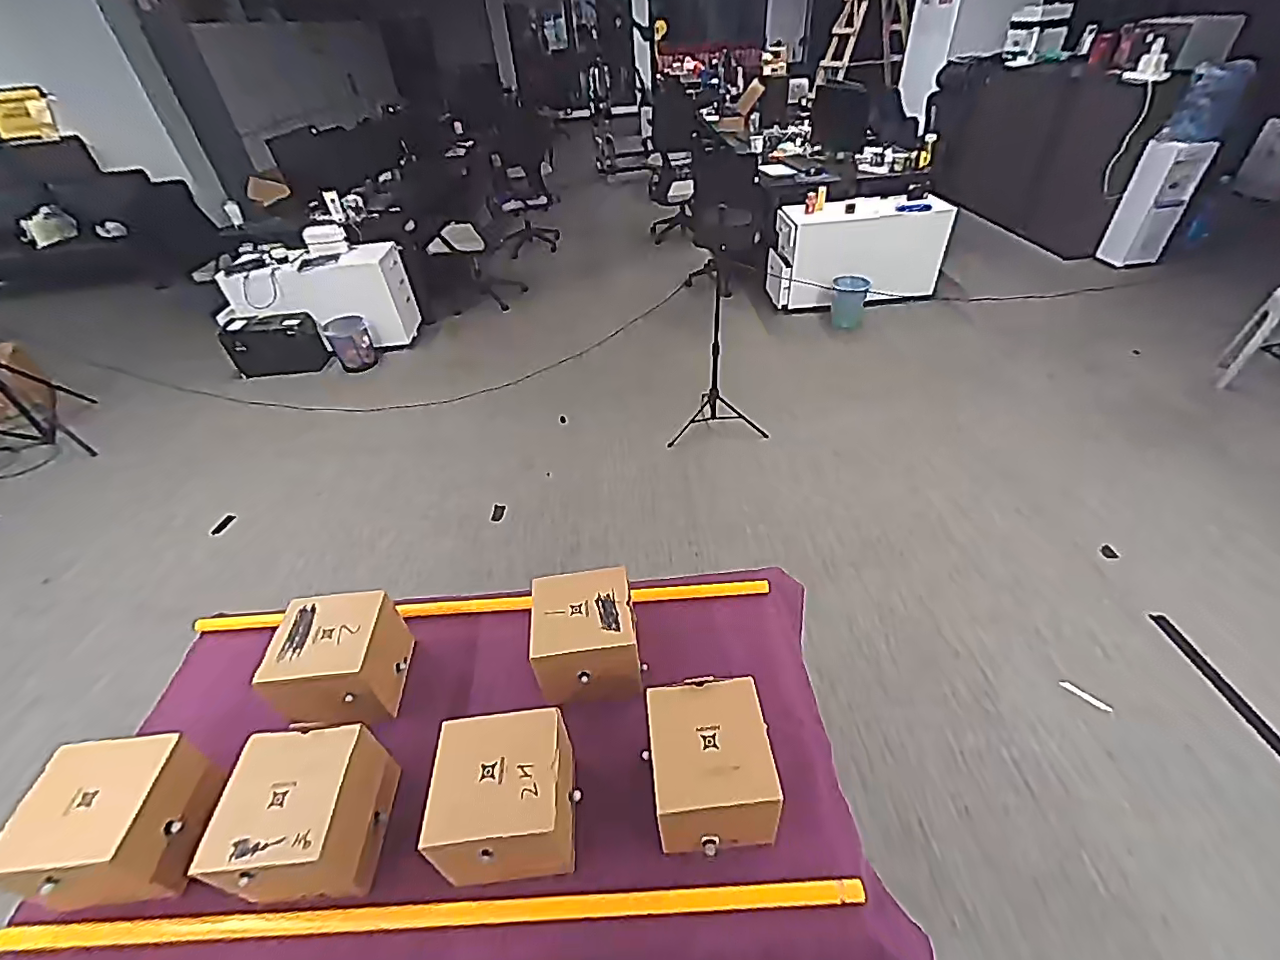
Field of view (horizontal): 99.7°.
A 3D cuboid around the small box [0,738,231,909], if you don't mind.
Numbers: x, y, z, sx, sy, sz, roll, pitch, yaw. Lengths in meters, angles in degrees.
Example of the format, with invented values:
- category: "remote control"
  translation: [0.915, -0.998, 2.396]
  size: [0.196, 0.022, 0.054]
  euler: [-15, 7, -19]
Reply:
- category: "small box"
  translation: [-0.759, 0.503, 0.793]
  size: [0.179, 0.176, 0.168]
  euler: [-6, 40, -2]

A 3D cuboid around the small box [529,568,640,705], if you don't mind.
- category: "small box"
  translation: [-0.094, 0.284, 0.977]
  size: [0.179, 0.176, 0.168]
  euler: [-8, 42, -1]

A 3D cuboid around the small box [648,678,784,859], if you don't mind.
- category: "small box"
  translation: [0.103, 0.421, 0.794]
  size: [0.168, 0.176, 0.179]
  euler: [-7, 39, 0]

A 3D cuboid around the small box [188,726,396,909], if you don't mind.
- category: "small box"
  translation: [-0.478, 0.486, 0.783]
  size: [0.168, 0.176, 0.179]
  euler: [-6, 40, 1]

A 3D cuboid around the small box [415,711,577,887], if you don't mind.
- category: "small box"
  translation: [-0.193, 0.461, 0.781]
  size: [0.179, 0.176, 0.168]
  euler: [-6, 39, -1]
